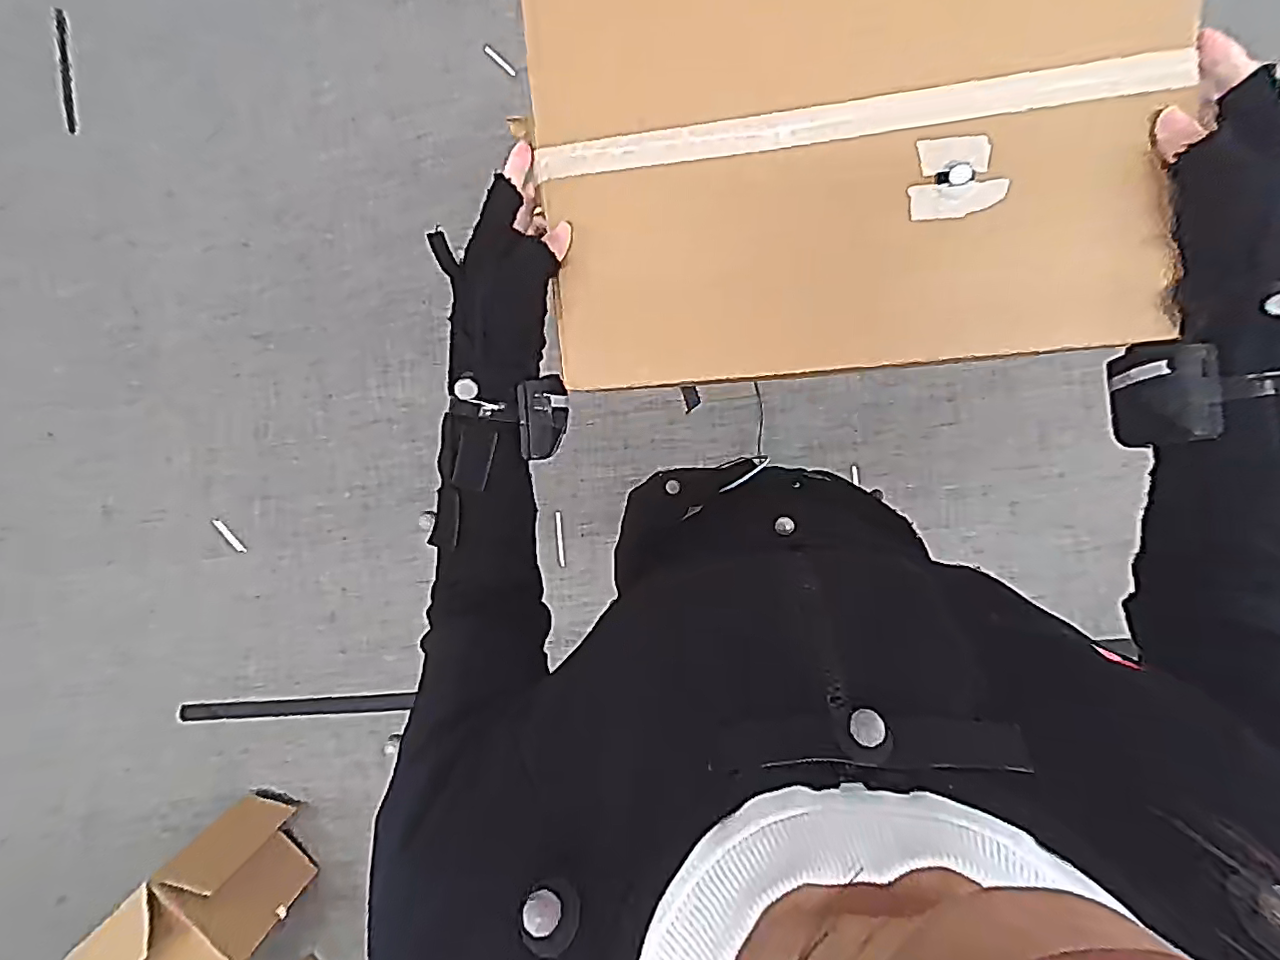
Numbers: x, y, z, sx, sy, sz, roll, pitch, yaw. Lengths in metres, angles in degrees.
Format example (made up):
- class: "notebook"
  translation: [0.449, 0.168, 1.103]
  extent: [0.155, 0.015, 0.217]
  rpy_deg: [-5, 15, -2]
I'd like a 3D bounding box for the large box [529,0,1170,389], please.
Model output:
- class: "large box"
  translation: [0.145, -0.261, 0.509]
  extent: [0.408, 0.320, 0.320]
  rpy_deg: [-4, 100, 6]
